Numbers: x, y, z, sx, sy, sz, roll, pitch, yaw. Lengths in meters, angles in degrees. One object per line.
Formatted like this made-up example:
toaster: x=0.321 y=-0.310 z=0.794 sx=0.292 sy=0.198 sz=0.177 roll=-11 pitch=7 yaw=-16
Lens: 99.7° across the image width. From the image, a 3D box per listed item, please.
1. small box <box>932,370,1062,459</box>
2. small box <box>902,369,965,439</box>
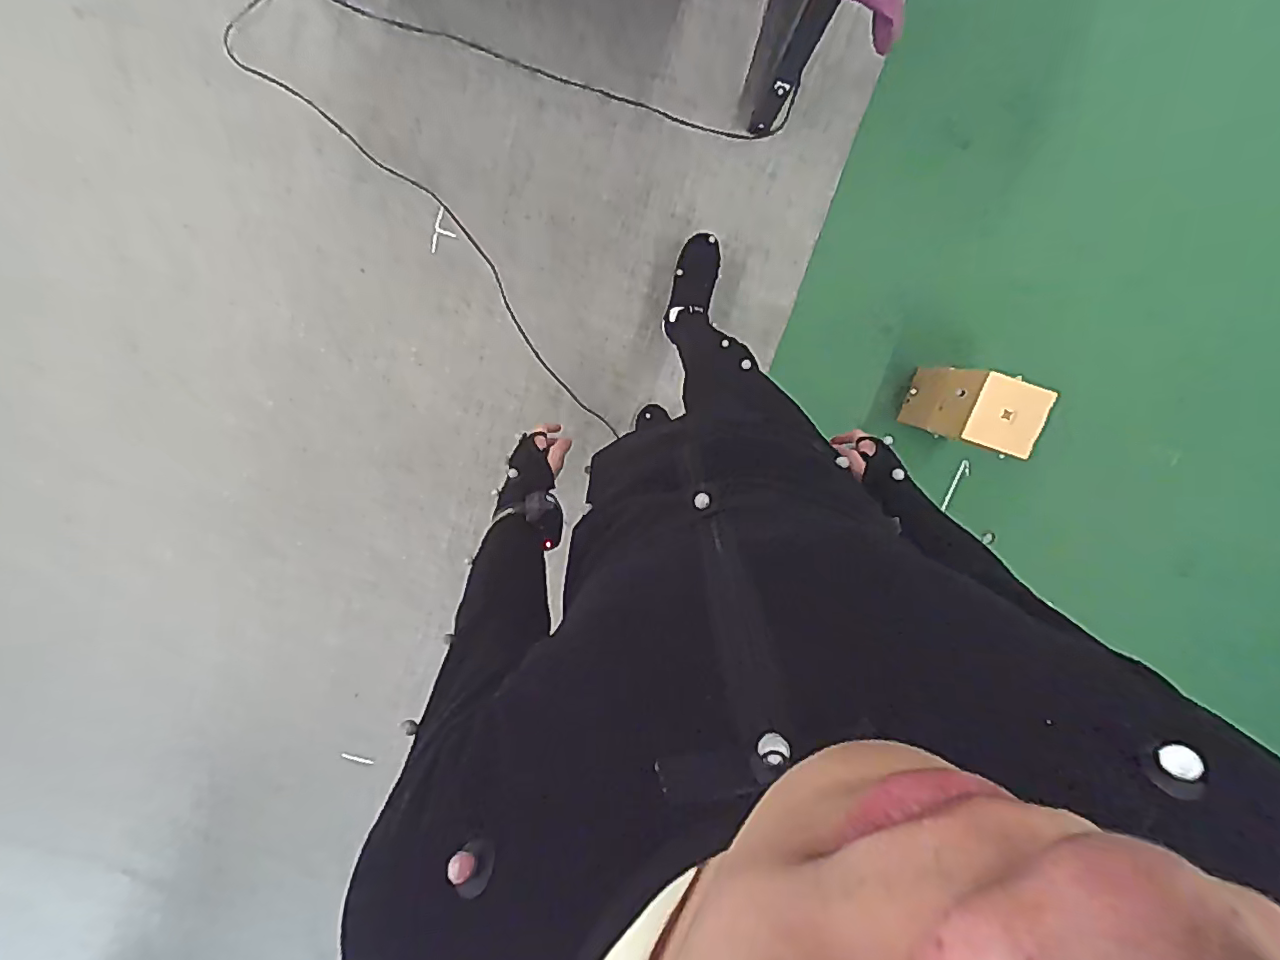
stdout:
small box: x=0.863 y=-0.165 z=1.328 sx=0.179 sy=0.176 sz=0.168 roll=17 pitch=102 yaw=-5
small box: x=0.864 y=-0.204 z=1.485 sx=0.179 sy=0.176 sz=0.168 roll=18 pitch=102 yaw=-3
